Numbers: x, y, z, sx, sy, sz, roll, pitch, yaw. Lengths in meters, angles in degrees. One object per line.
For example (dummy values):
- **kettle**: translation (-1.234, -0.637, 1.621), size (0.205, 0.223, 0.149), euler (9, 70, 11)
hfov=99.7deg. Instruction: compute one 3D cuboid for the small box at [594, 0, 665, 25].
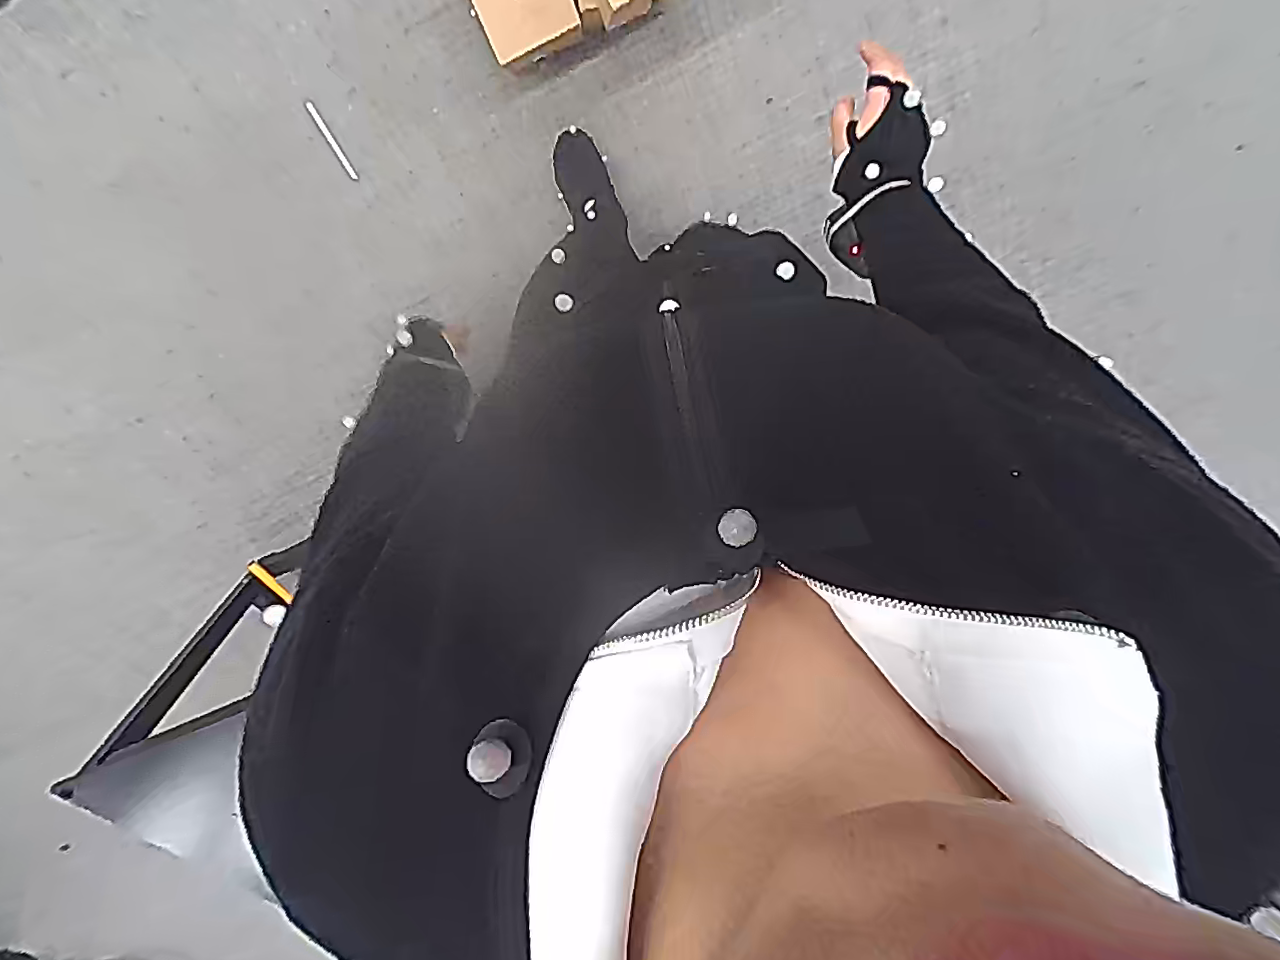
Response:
- **small box**: translation (-0.014, -0.858, 0.852), size (0.168, 0.176, 0.179), euler (-23, 121, 8)
